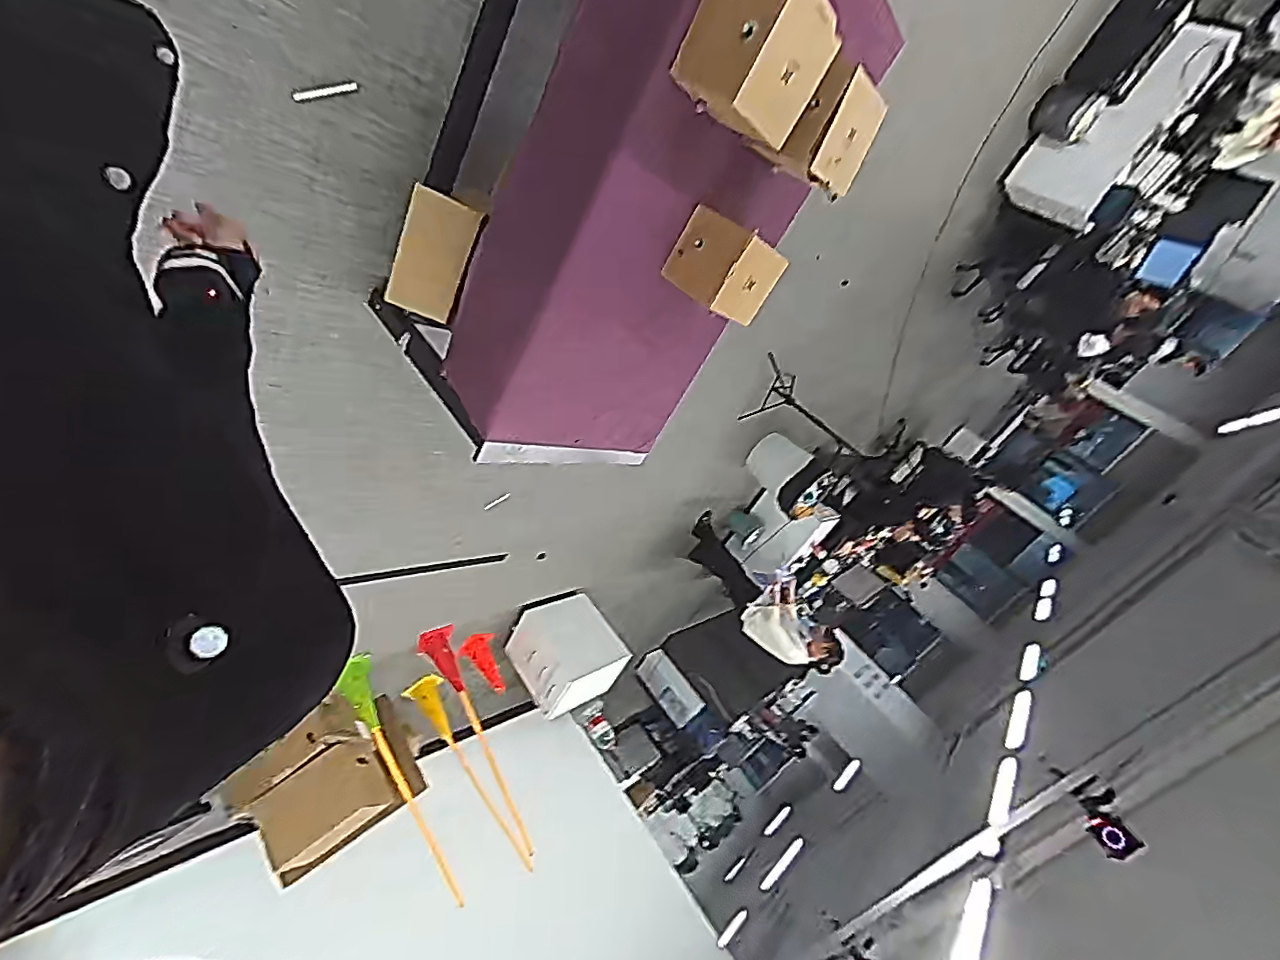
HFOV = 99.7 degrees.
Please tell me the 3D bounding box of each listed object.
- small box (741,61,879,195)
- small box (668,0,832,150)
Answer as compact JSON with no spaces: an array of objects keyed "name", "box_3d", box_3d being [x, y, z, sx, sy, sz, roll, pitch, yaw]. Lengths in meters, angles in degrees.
[{"name":"small box","box_3d":[0.336,-0.718,1.086,0.168,0.176,0.179,-4,133,-49]},{"name":"small box","box_3d":[0.178,-0.703,0.904,0.168,0.176,0.179,-2,131,-51]}]
